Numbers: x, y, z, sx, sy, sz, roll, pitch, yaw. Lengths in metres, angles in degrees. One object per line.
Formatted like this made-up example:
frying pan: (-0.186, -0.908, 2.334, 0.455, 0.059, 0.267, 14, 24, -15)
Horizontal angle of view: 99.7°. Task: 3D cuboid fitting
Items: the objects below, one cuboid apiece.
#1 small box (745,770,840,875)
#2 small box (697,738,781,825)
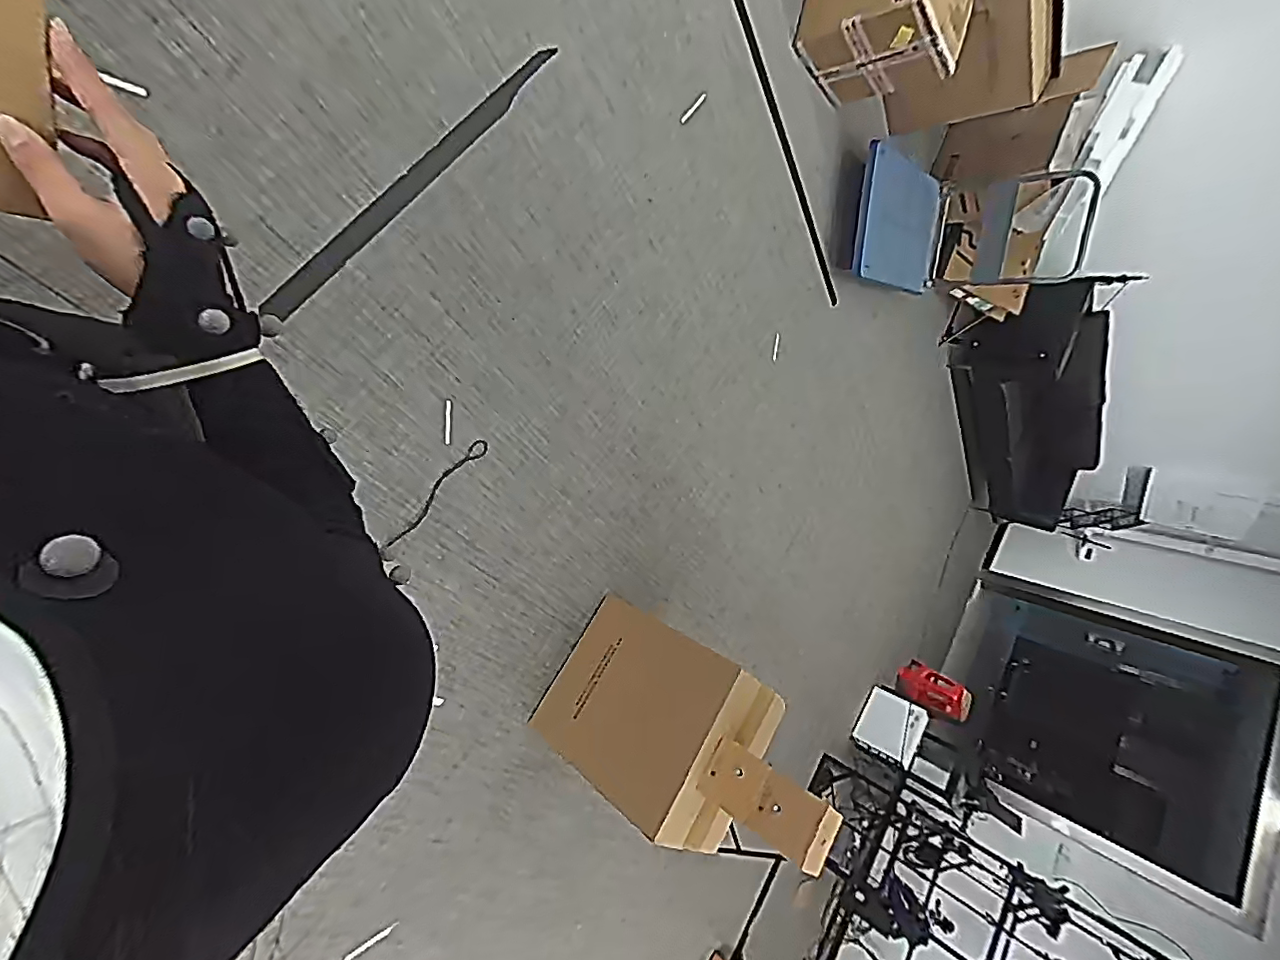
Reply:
small box: (0.410, 0.915, 1.452, 0.168, 0.176, 0.179, -56, 134, -20)
small box: (0.291, 0.876, 1.560, 0.168, 0.176, 0.179, -57, 135, -18)
